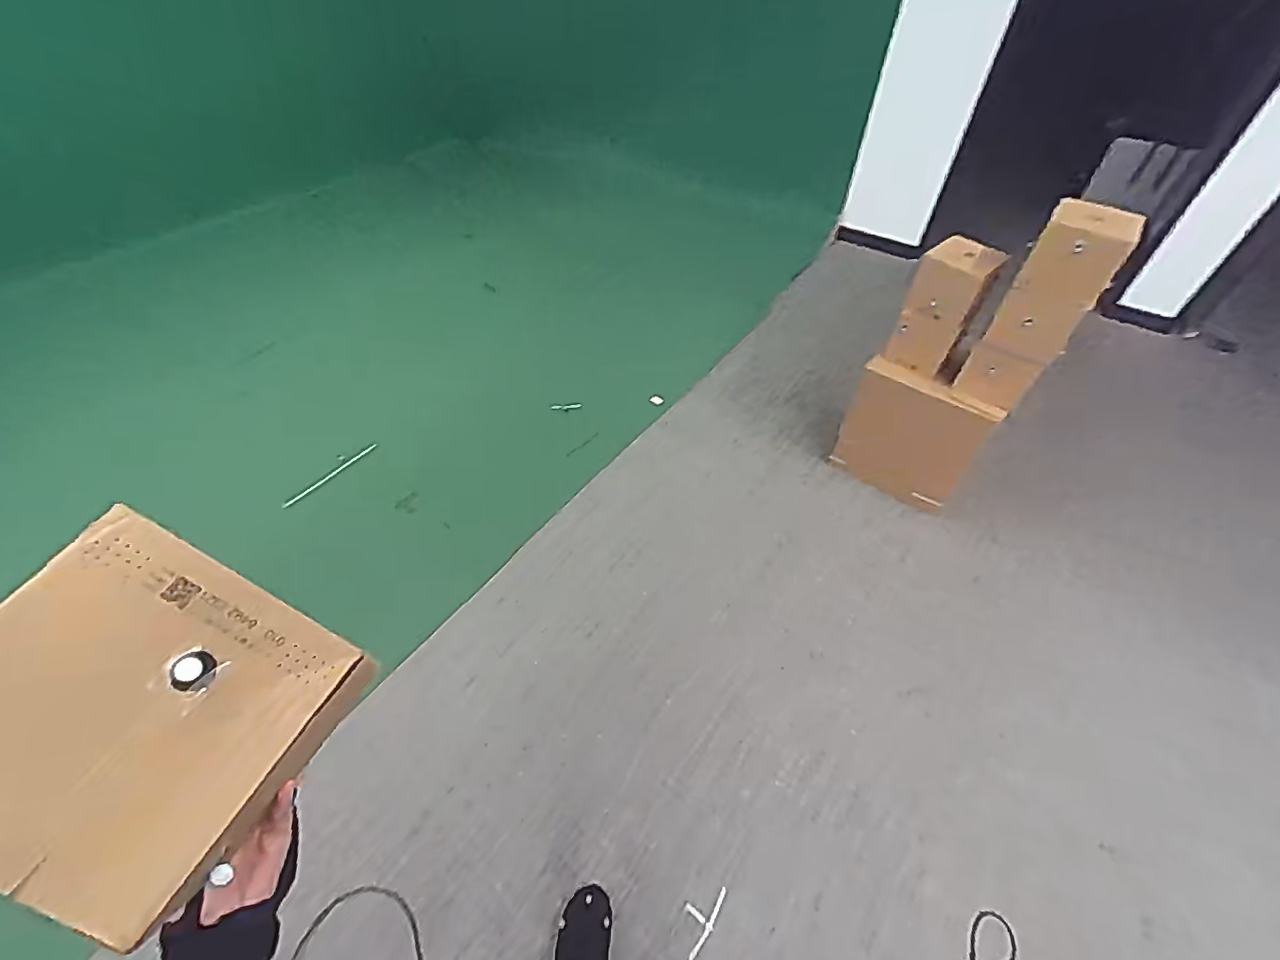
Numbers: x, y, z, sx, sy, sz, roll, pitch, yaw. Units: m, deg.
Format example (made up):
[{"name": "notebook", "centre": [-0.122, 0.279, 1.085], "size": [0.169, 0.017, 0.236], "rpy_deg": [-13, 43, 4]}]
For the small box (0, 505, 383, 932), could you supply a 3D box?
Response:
[{"name": "small box", "centre": [-0.301, 0.144, 0.371], "size": [0.168, 0.179, 0.176], "rpy_deg": [36, 61, -6]}]

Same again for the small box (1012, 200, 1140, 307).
[{"name": "small box", "centre": [1.046, -0.545, 1.309], "size": [0.179, 0.176, 0.168], "rpy_deg": [30, 56, 22]}]
